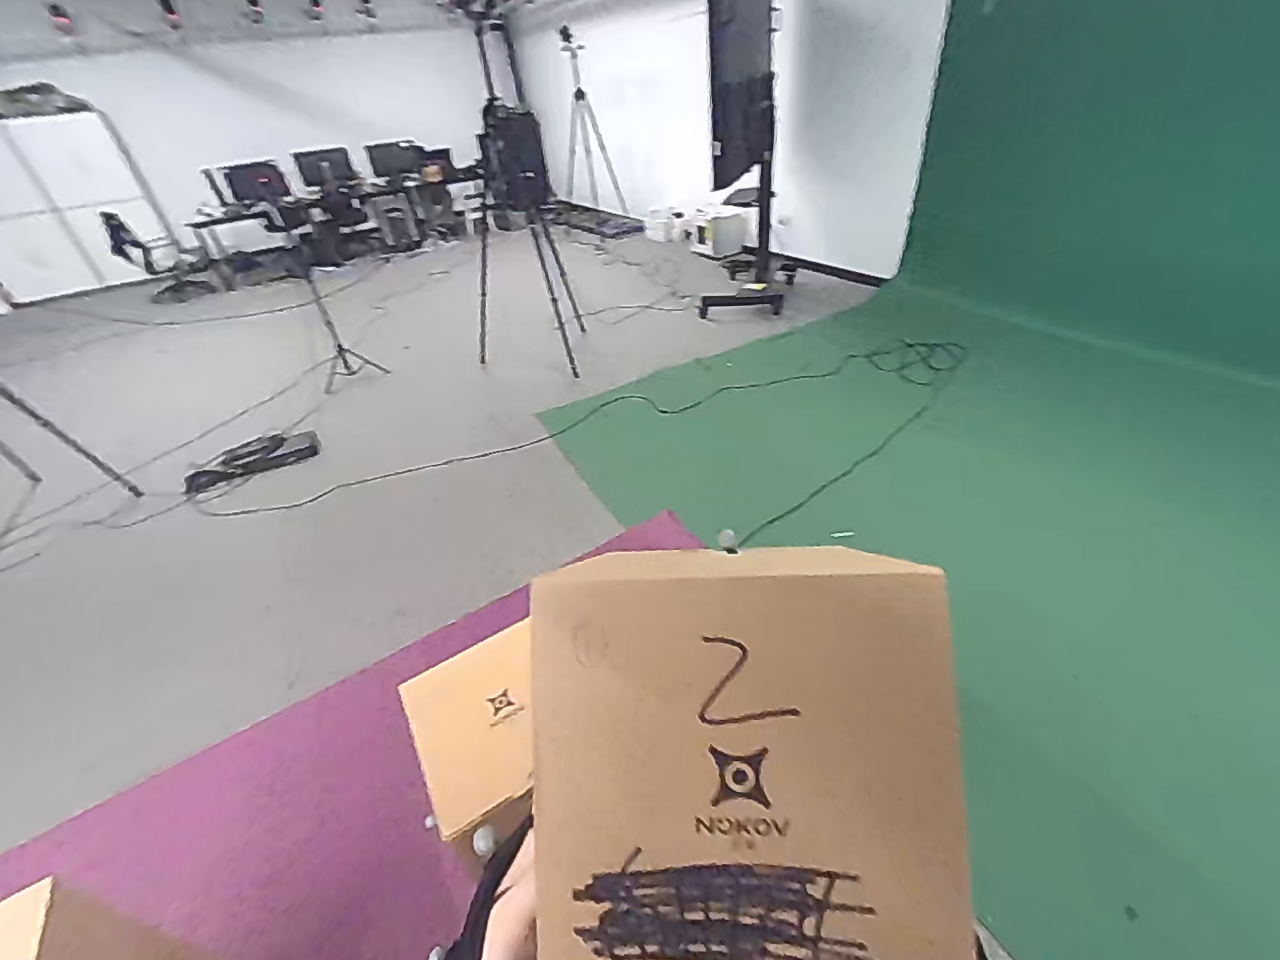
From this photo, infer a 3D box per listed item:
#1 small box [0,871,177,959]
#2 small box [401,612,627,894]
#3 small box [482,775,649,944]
[{"bbox_3d":[-0.501,0.456,0.403,0.179,0.176,0.168,-25,40,-24],"label":"small box"},{"bbox_3d":[-0.130,0.284,0.578,0.168,0.176,0.179,-25,40,-23],"label":"small box"},{"bbox_3d":[-0.106,0.417,0.670,0.179,0.176,0.168,-27,41,-23],"label":"small box"}]
